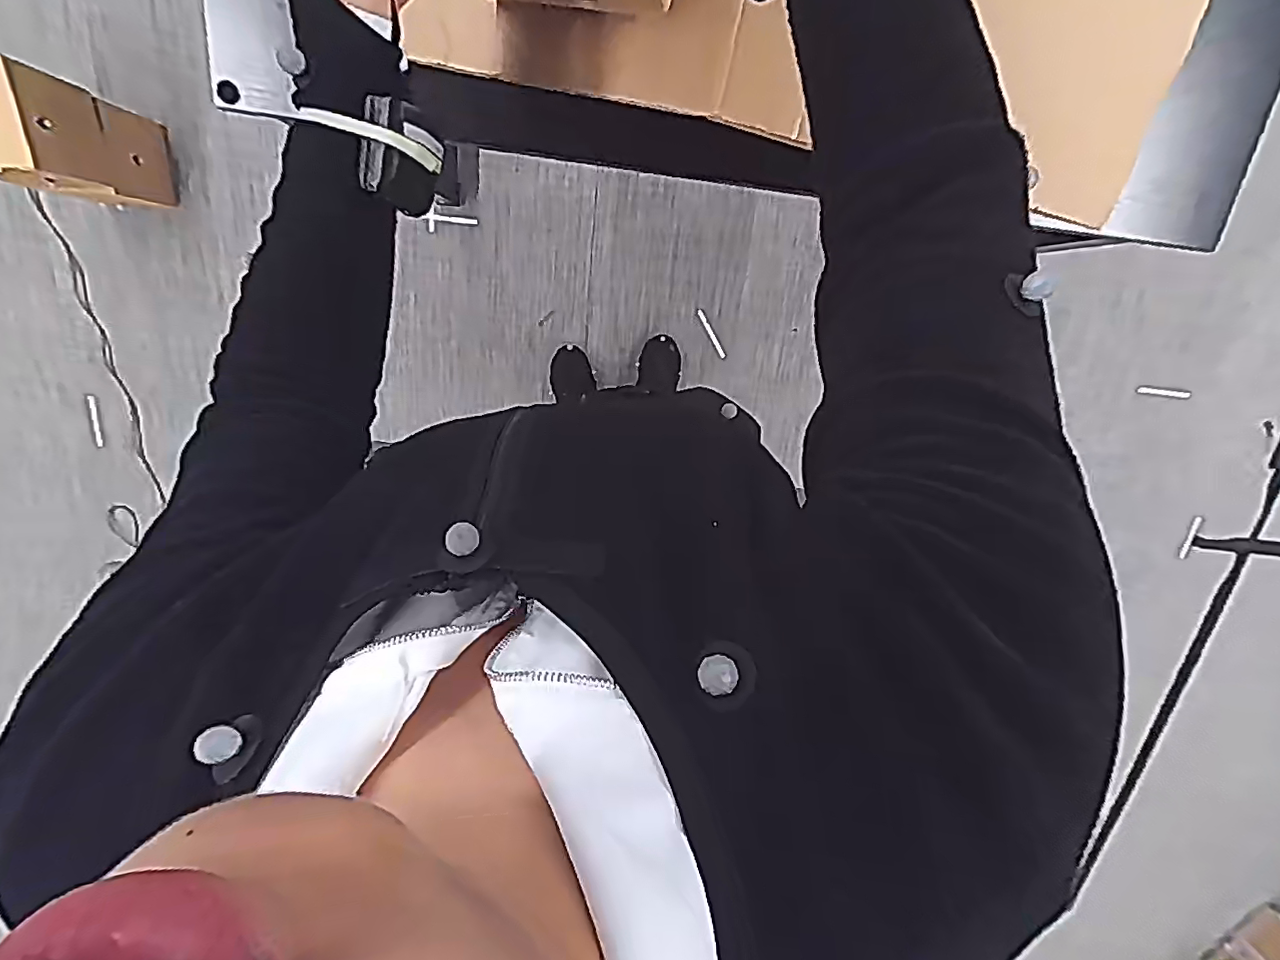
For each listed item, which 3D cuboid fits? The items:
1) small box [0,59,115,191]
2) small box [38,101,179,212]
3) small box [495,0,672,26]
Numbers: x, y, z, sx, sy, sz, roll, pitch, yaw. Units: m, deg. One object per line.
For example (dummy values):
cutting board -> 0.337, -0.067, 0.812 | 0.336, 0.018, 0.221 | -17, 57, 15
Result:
small box -> -1.151, -0.652, 1.012 | 0.168, 0.176, 0.179 | -1, 106, -3
small box -> -1.155, -0.695, 1.168 | 0.168, 0.176, 0.179 | 2, 108, -3
small box -> -0.054, -0.444, 0.344 | 0.168, 0.176, 0.179 | 13, 107, 8
